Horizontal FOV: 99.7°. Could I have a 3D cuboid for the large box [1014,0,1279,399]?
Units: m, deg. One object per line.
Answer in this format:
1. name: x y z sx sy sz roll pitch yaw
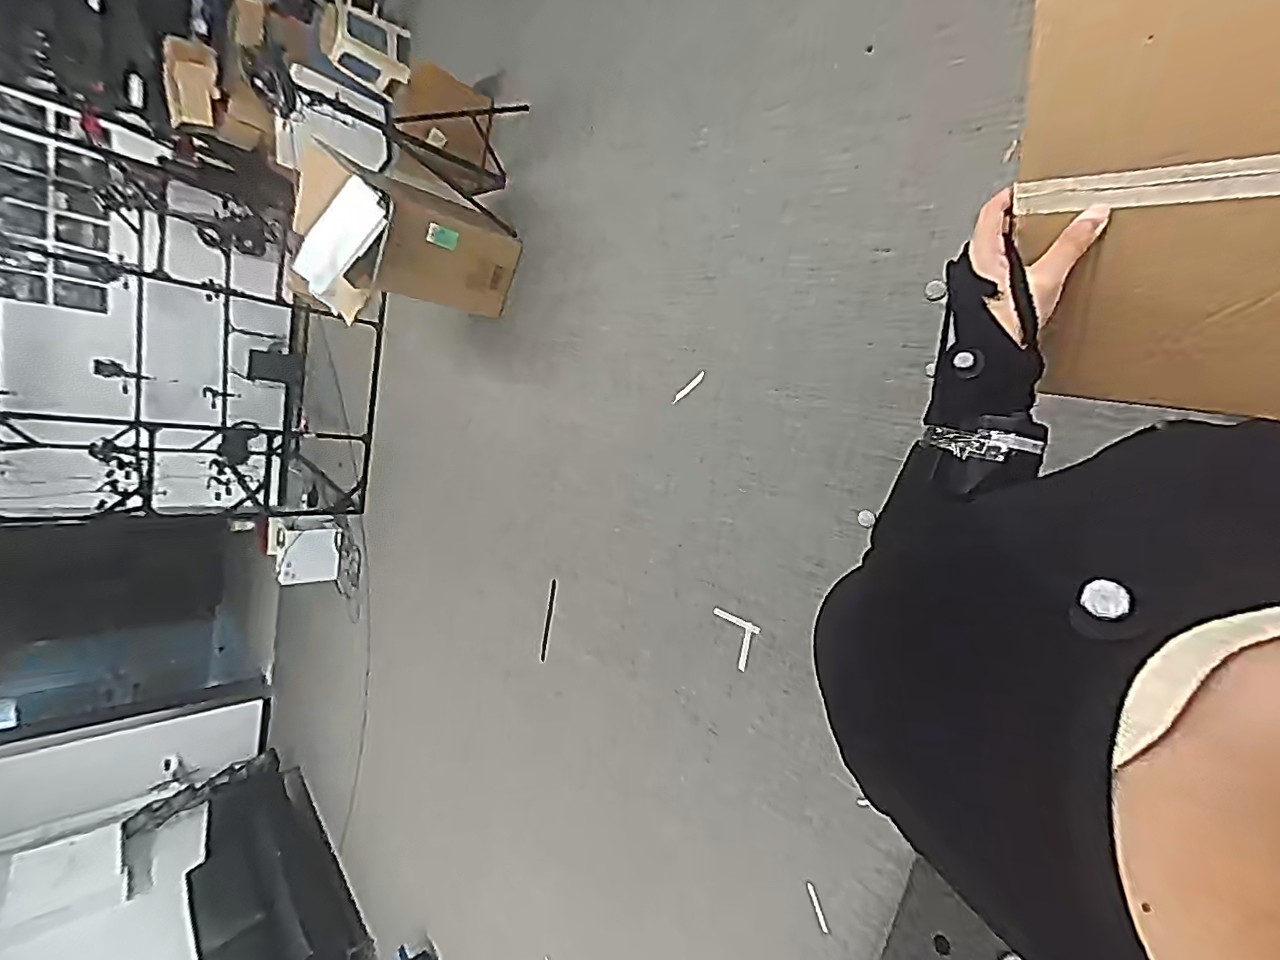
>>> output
1. large box: 0.504 -0.251 0.315 0.408 0.320 0.320 18 141 44
